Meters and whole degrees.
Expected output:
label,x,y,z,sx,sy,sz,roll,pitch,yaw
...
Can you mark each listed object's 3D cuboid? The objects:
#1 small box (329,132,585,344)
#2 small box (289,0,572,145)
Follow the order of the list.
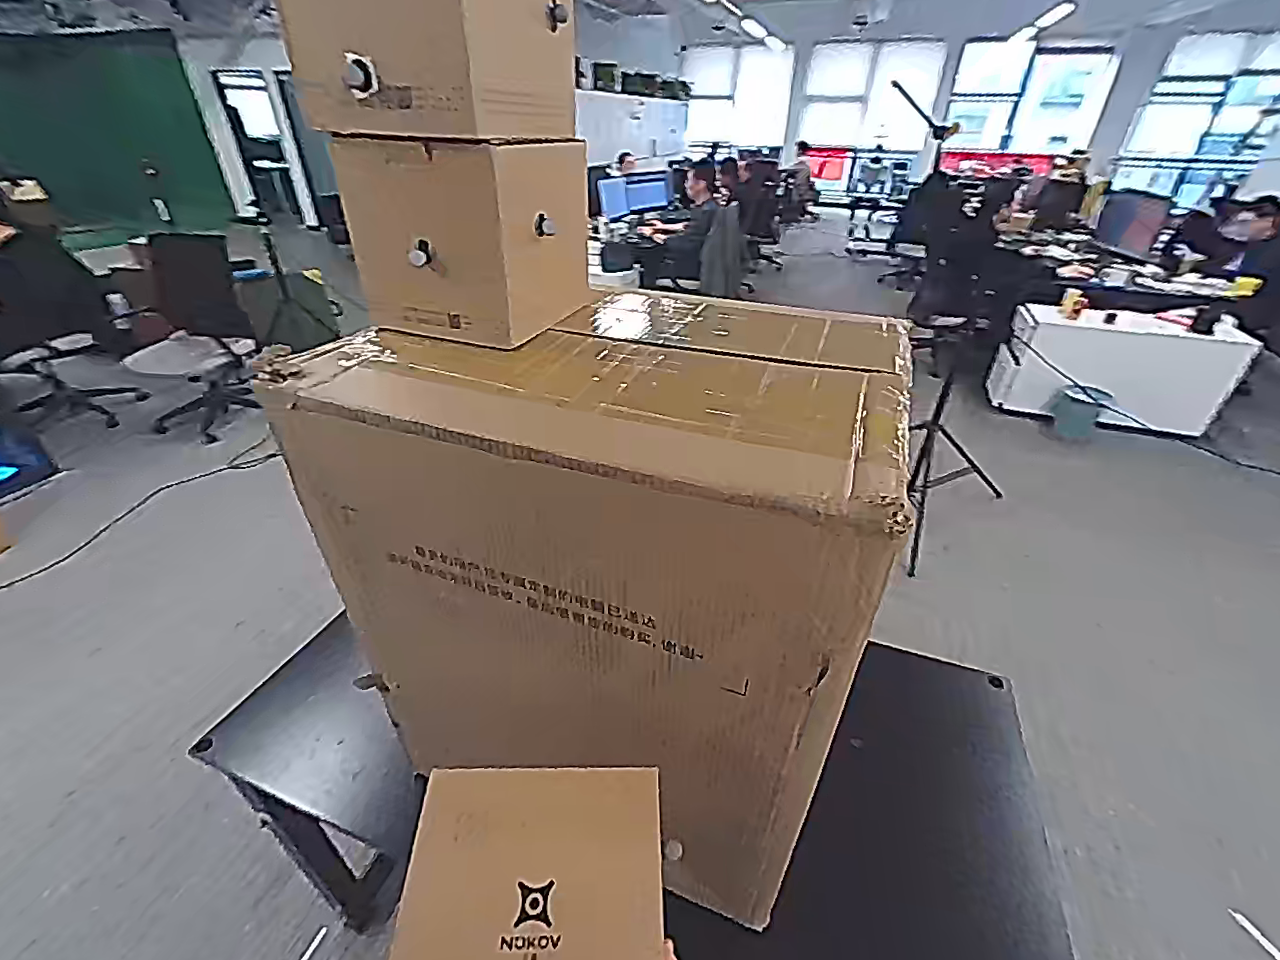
label,x,y,z,sx,sy,sz,roll,pitch,yaw
small box,-0.160,-0.248,0.543,0.168,0.176,0.179,12,35,15
small box,-0.163,-0.378,0.443,0.168,0.176,0.179,11,34,15
